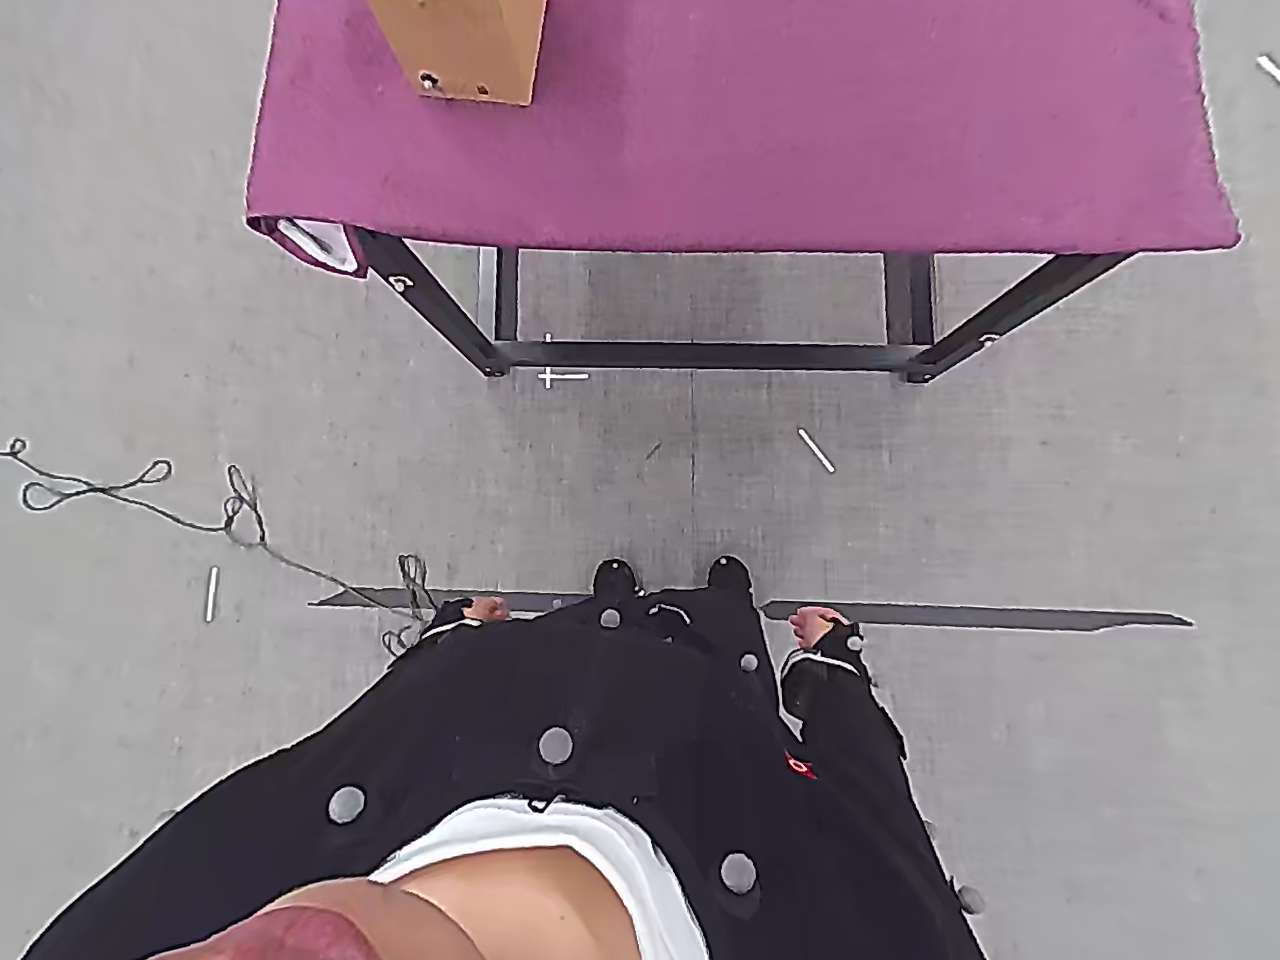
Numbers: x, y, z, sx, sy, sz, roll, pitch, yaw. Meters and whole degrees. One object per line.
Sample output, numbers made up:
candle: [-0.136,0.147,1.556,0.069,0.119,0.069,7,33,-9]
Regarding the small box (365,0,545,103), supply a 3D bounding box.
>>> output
small box: [-0.225,-0.622,0.684,0.168,0.176,0.179,7,84,2]
